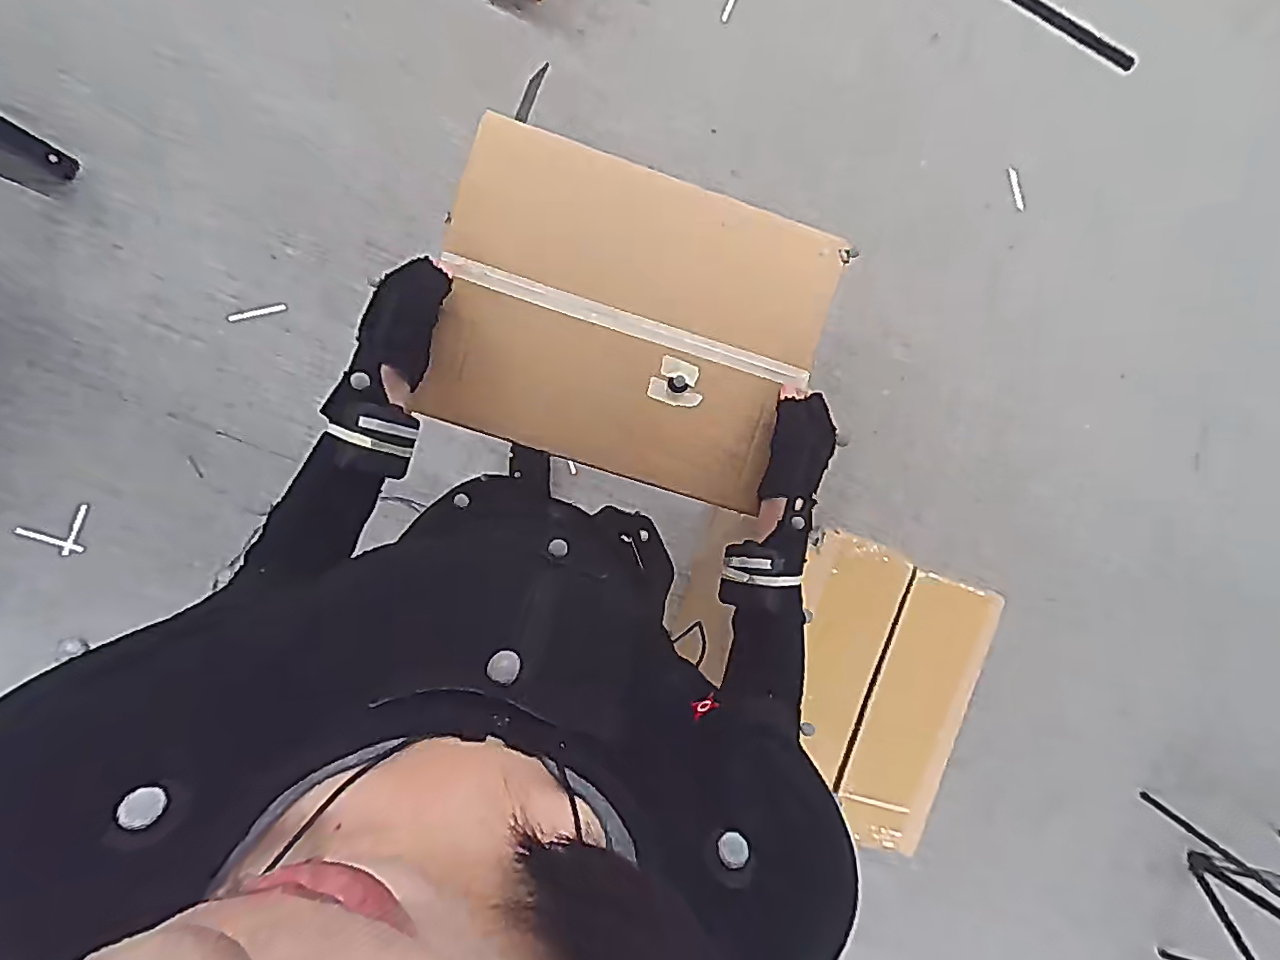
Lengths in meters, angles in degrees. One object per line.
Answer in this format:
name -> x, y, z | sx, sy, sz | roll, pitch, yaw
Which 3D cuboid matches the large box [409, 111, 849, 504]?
large box -> -0.021, -0.182, 0.709 | 0.408, 0.320, 0.320 | 17, 94, -6
